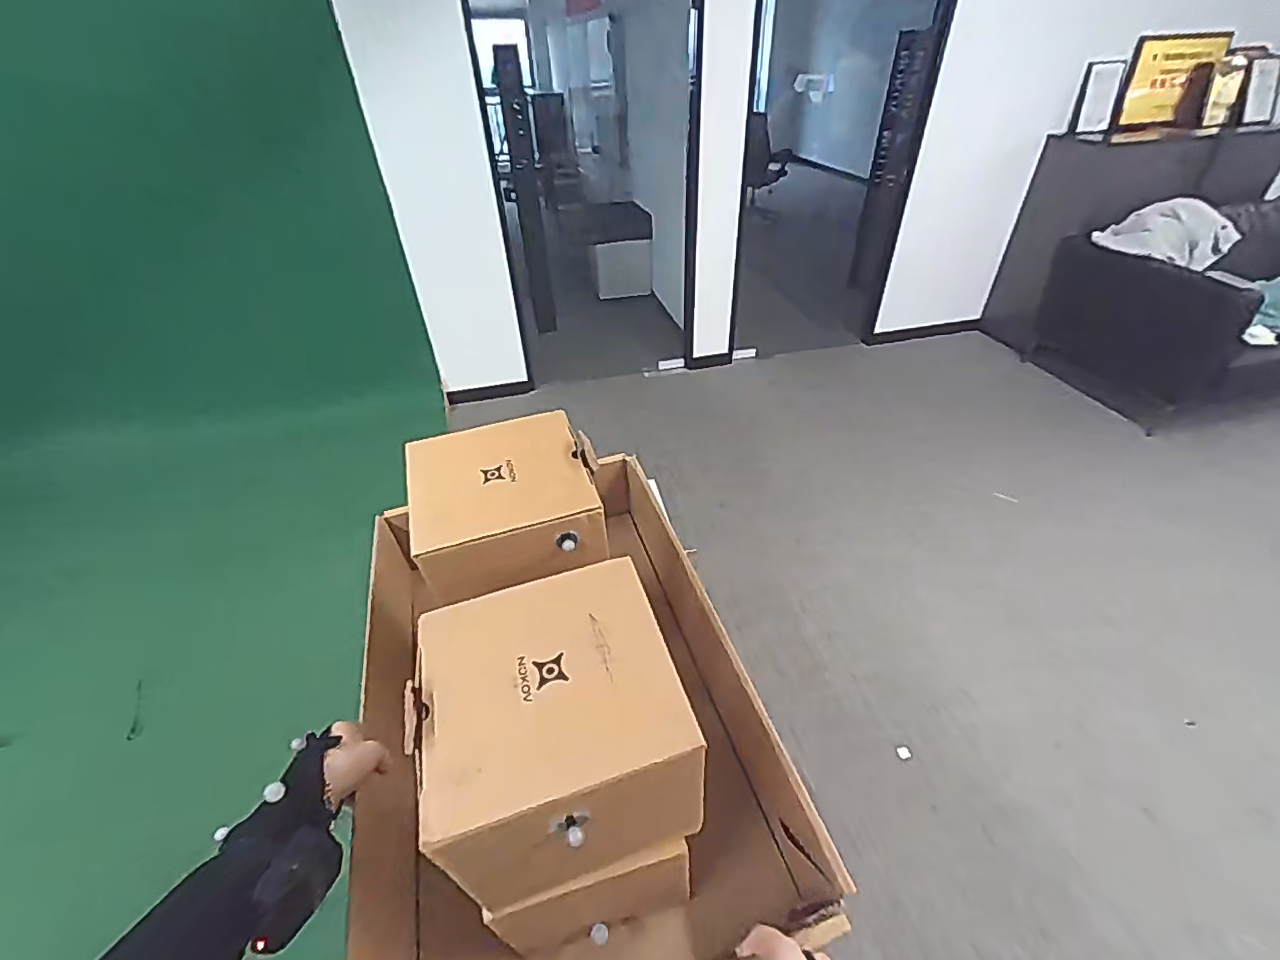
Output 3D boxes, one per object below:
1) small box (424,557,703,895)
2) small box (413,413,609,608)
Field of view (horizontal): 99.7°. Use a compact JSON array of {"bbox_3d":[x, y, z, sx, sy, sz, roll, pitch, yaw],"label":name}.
[{"bbox_3d":[-0.059,0.196,0.436,0.179,0.176,0.168,-14,42,-12],"label":"small box"},{"bbox_3d":[-0.136,0.054,0.602,0.179,0.176,0.168,-14,44,-13],"label":"small box"}]
